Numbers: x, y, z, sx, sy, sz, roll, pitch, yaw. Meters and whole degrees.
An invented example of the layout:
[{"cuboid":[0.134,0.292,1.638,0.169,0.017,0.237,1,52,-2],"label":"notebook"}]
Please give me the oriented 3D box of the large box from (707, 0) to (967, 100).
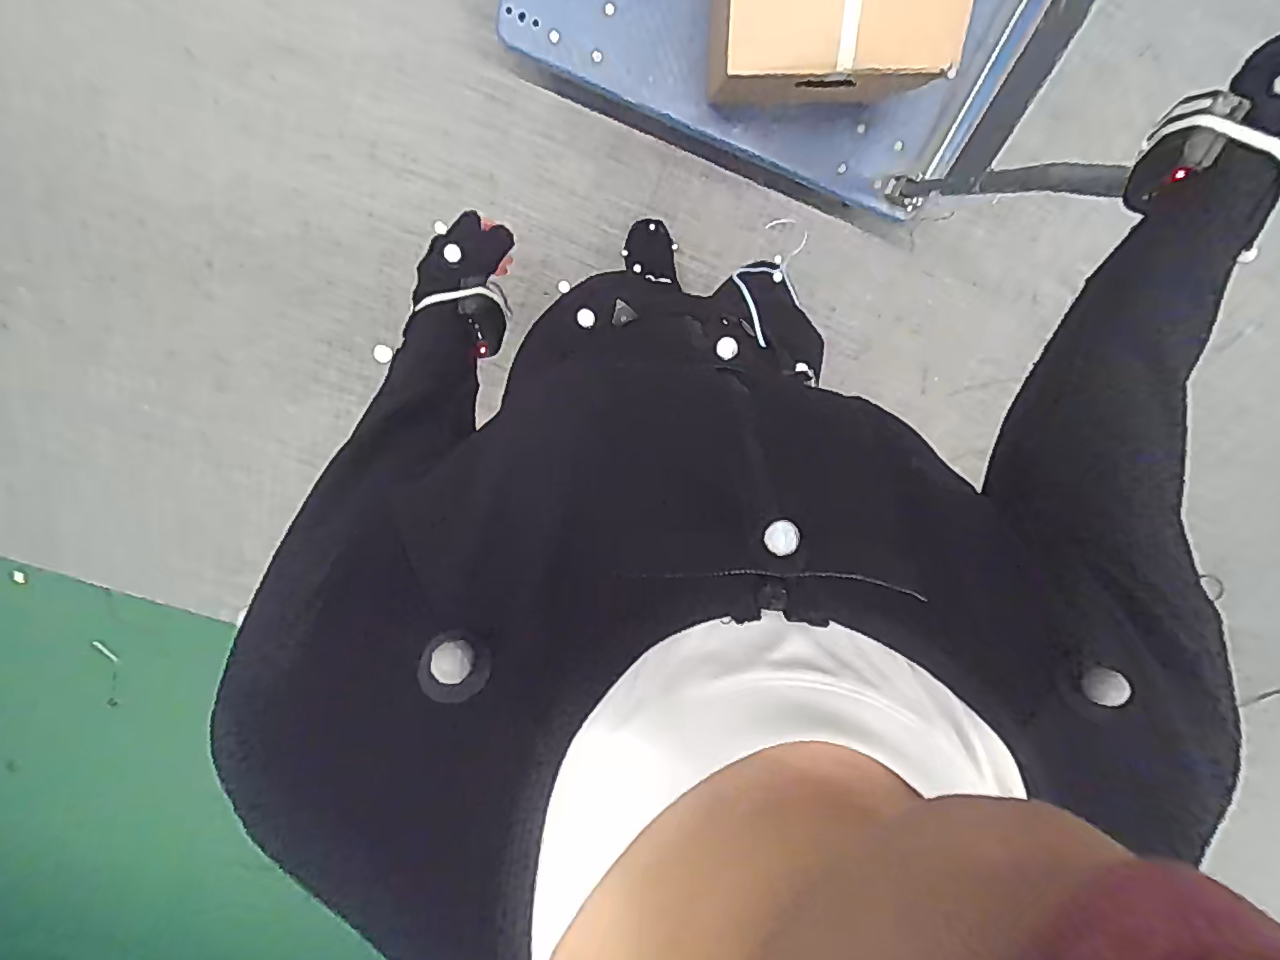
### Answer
[{"cuboid":[0.269,-0.800,0.768,0.320,0.320,0.408,0,120,1],"label":"large box"}]
